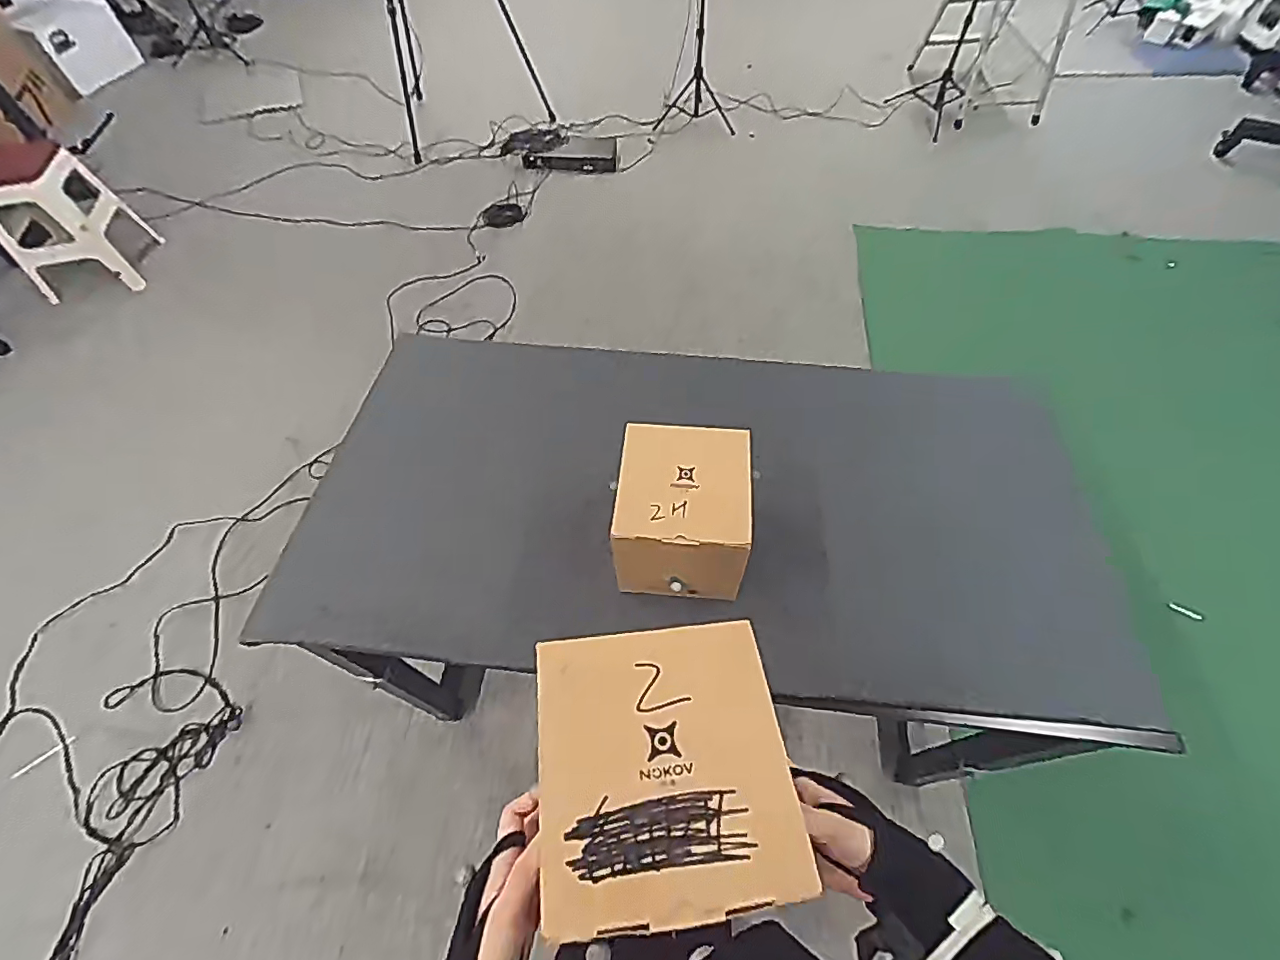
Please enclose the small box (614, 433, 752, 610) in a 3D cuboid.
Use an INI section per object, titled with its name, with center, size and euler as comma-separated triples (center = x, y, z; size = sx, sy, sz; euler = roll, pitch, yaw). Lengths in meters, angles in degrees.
[small box]
center = 0.059, 0.059, 0.741
size = 0.168, 0.176, 0.179
euler = 4, 56, 5
